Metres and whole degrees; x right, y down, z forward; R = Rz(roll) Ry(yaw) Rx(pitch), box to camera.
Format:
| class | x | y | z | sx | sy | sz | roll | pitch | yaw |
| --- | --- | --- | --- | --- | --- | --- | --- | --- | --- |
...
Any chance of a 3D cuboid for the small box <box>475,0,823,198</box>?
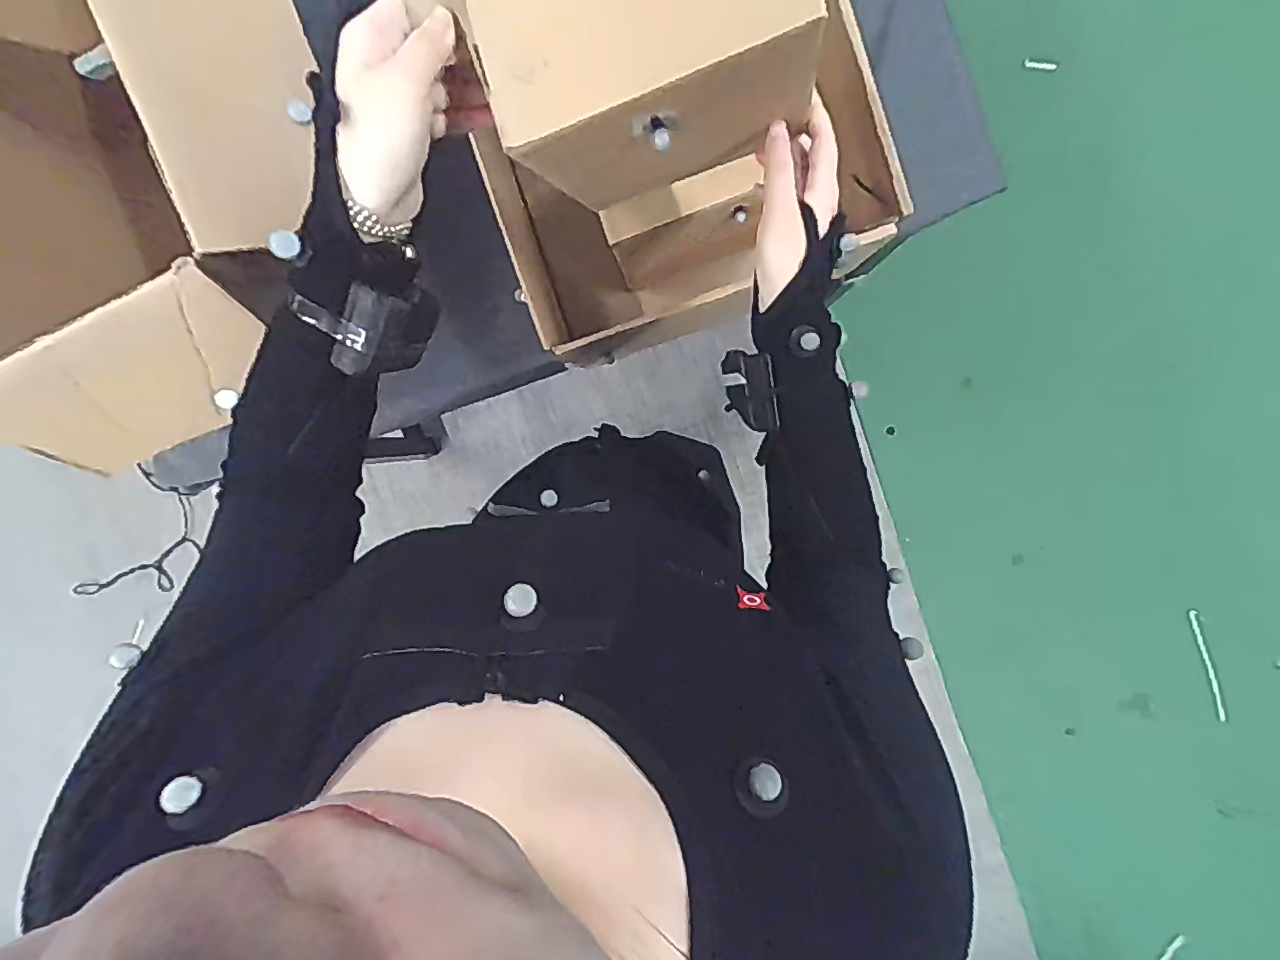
| class | x | y | z | sx | sy | sz | roll | pitch | yaw |
| --- | --- | --- | --- | --- | --- | --- | --- | --- | --- |
| small box | 0.007 | -0.304 | 0.345 | 0.179 | 0.176 | 0.168 | -12 | 104 | 16 |
